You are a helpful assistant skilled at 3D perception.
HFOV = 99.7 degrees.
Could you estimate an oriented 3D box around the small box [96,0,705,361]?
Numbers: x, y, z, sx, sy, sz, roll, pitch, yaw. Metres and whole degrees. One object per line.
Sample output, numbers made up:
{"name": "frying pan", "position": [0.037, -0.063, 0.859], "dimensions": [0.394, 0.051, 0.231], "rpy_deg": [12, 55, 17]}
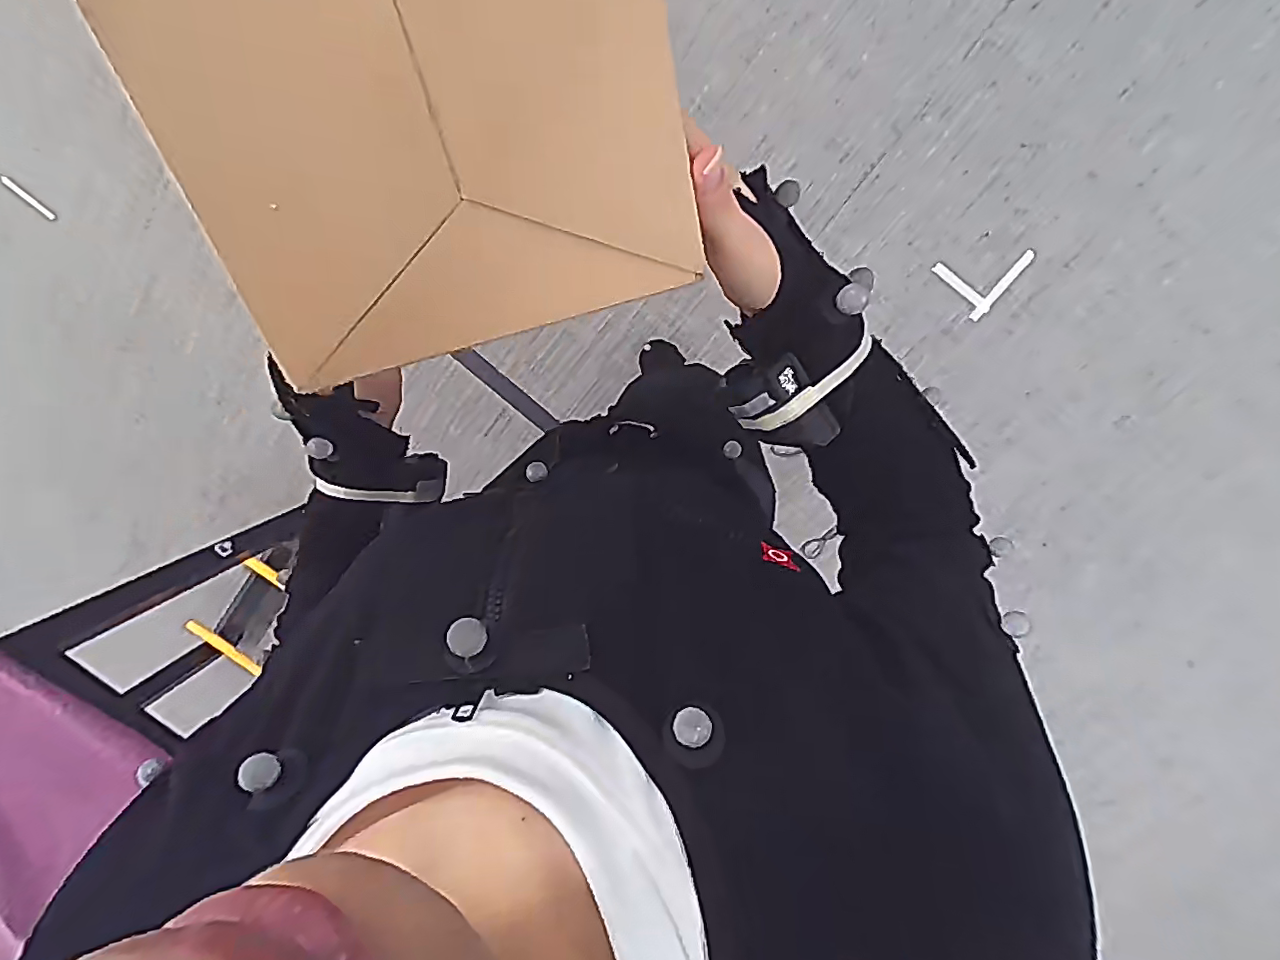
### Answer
{"name": "small box", "position": [-0.083, -0.169, 0.250], "dimensions": [0.179, 0.176, 0.168], "rpy_deg": [-17, 119, -6]}
